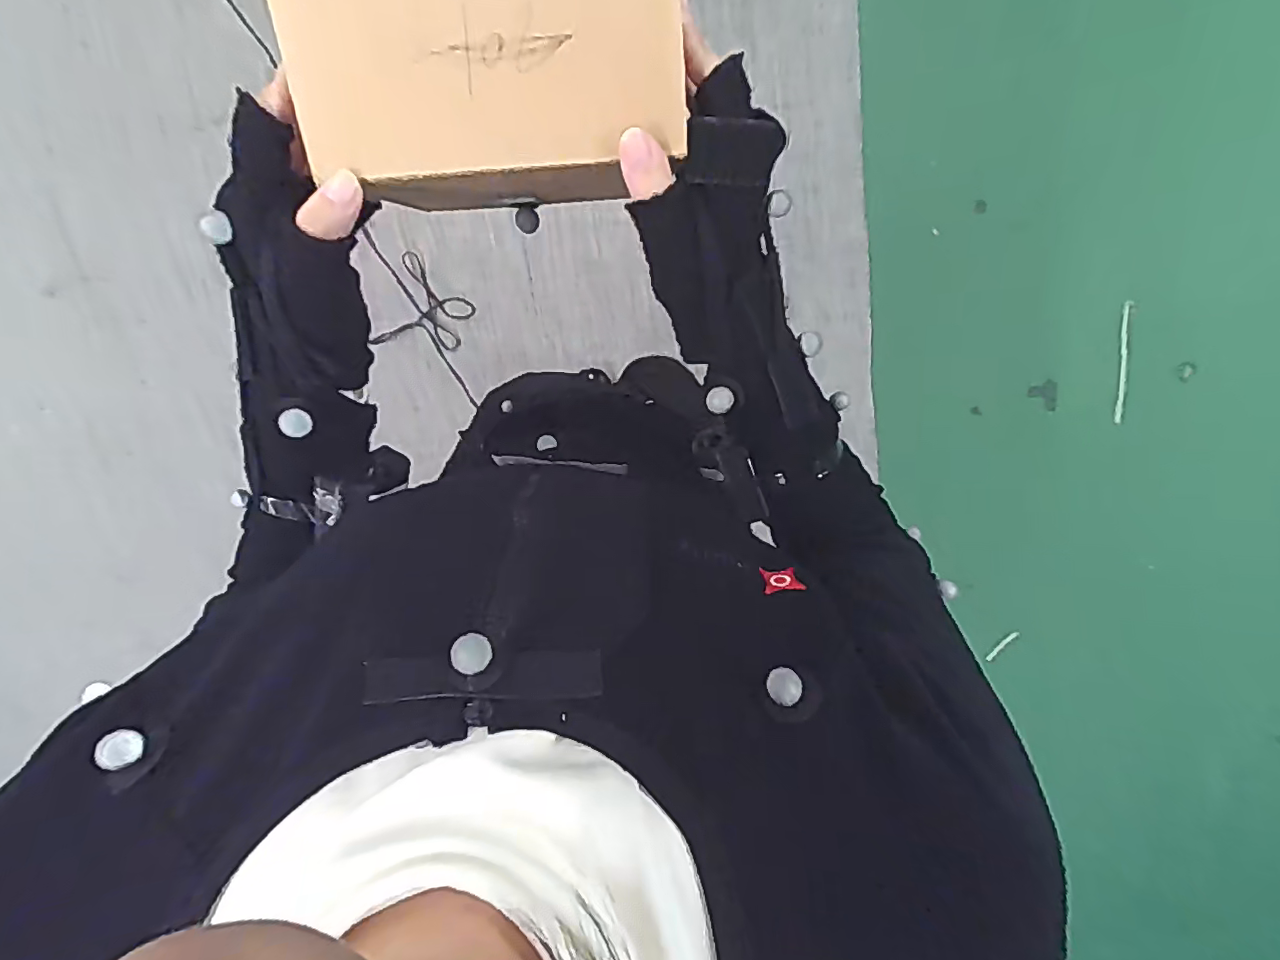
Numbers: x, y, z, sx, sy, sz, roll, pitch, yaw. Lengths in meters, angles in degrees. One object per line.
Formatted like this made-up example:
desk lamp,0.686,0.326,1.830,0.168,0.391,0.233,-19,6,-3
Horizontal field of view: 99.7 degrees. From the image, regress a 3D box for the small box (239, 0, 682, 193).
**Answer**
small box,-0.072,-0.249,0.261,0.168,0.176,0.179,-4,113,0
